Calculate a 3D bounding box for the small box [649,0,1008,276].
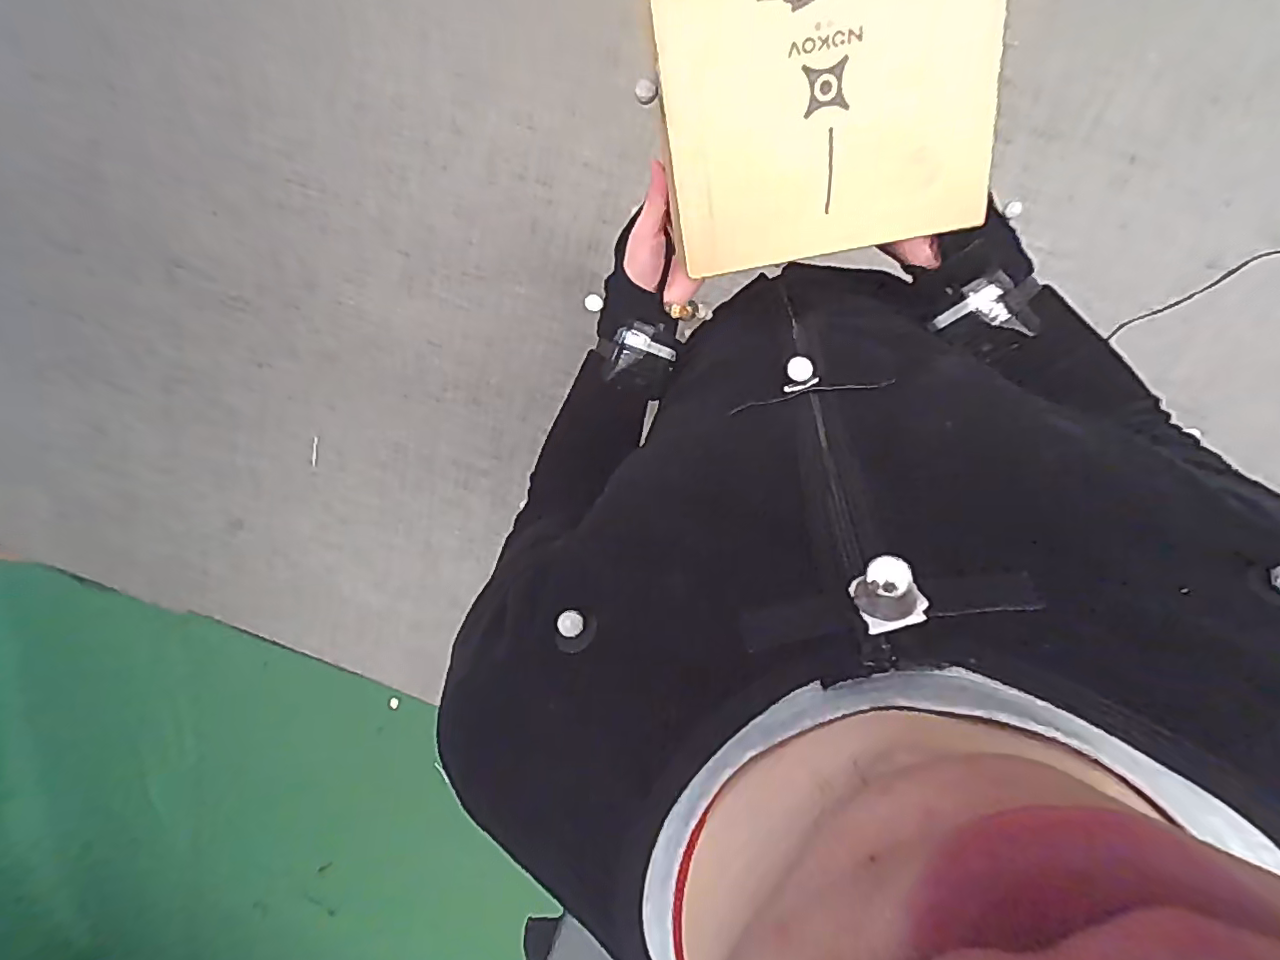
[{"bbox_3d":[0.098,-0.242,0.342,0.168,0.176,0.179,-8,117,6],"label":"small box"}]
